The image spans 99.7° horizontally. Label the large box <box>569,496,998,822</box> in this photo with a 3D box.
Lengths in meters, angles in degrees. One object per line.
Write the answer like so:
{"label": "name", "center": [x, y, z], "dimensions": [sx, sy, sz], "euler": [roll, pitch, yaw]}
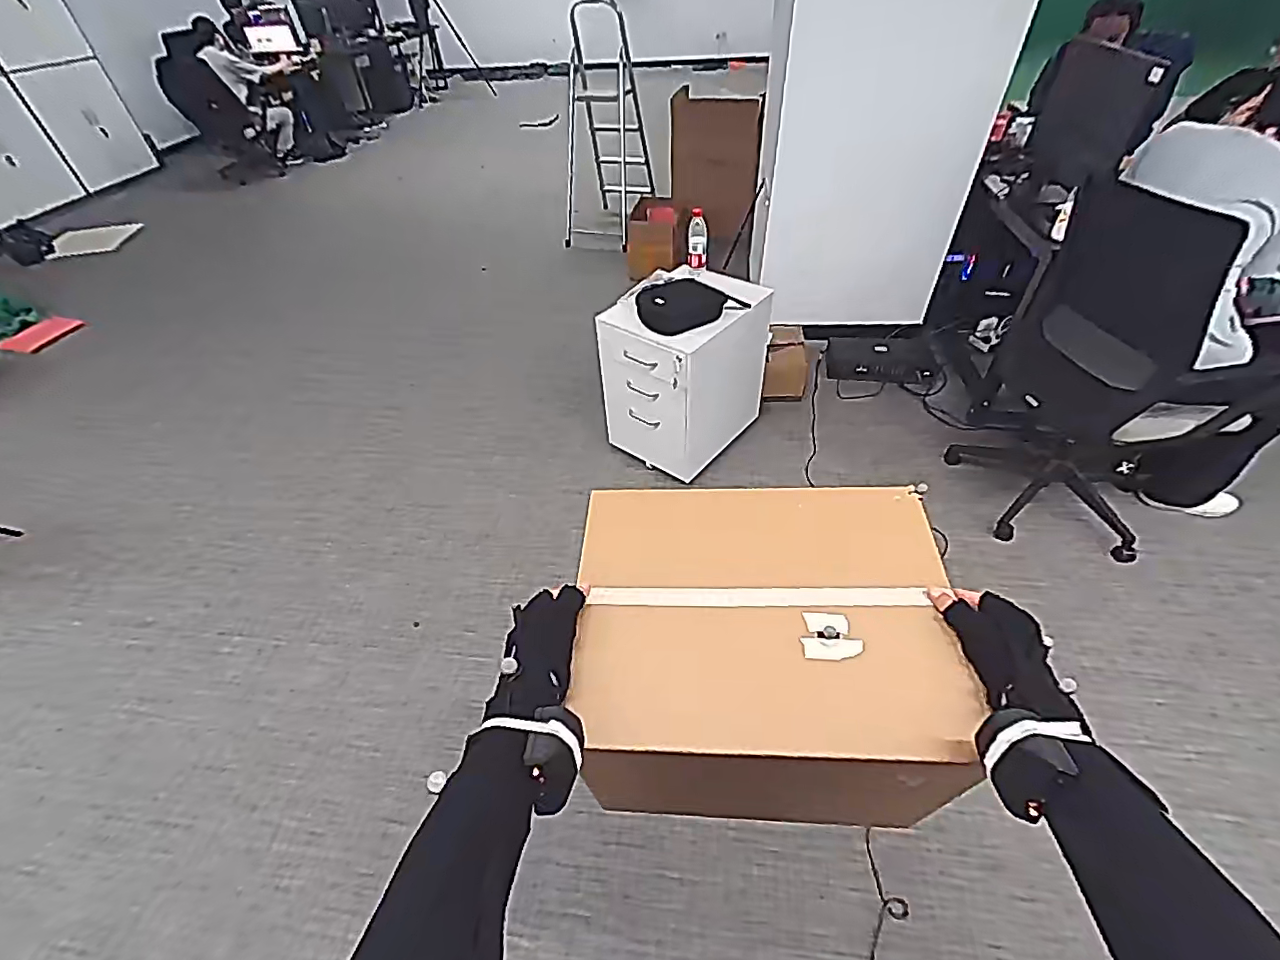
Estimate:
{"label": "large box", "center": [0.144, 0.239, 0.710], "dimensions": [0.408, 0.320, 0.320], "euler": [-1, 49, 6]}
